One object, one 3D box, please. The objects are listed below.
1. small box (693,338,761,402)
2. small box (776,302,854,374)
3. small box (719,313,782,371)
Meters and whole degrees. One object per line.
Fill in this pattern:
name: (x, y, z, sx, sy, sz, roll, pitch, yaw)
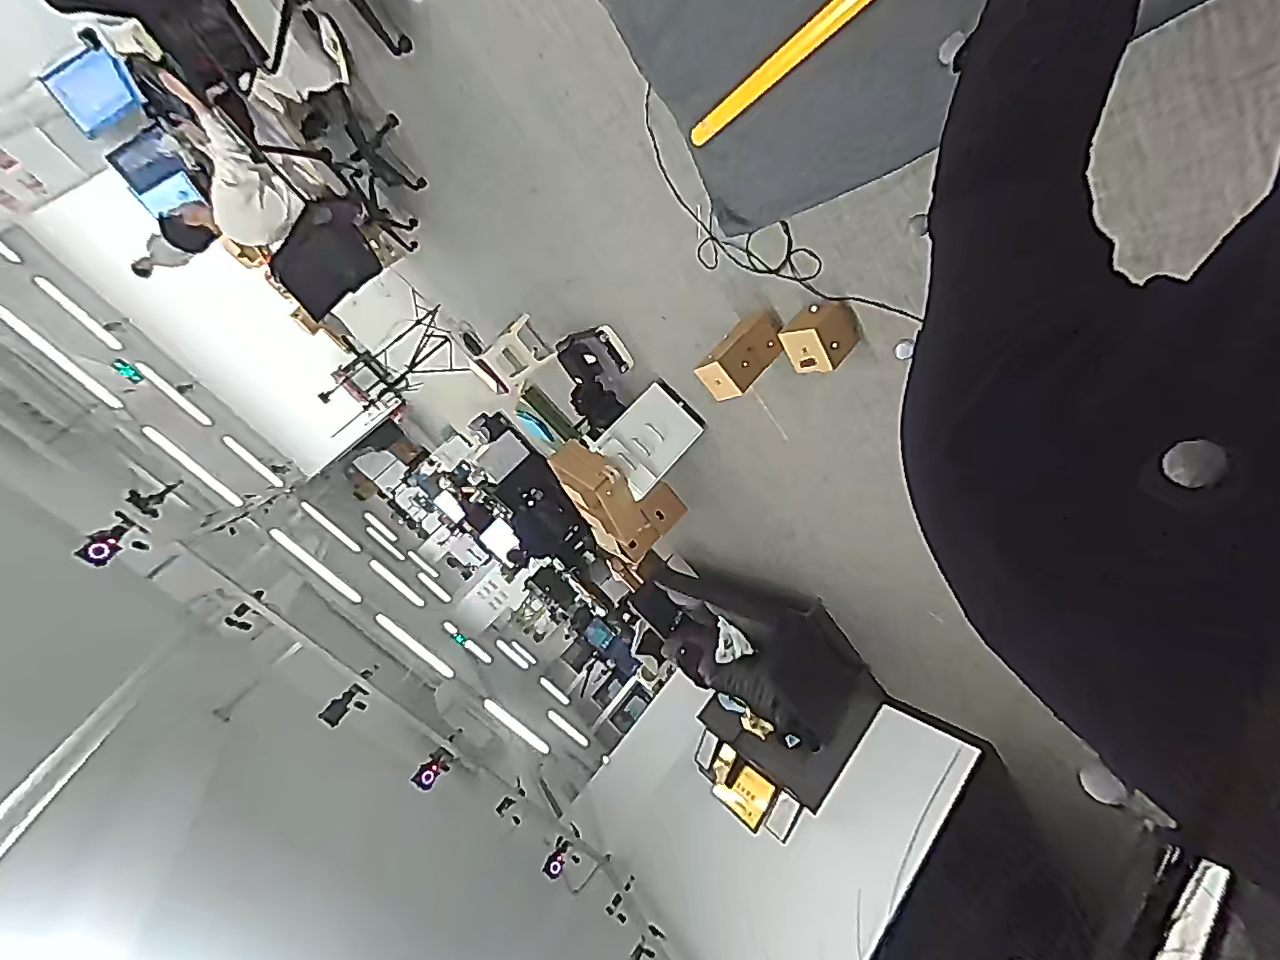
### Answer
small box: (0.345, -0.431, 2.111, 0.168, 0.176, 0.179, 48, 162, -17)
small box: (0.623, -0.498, 1.908, 0.179, 0.176, 0.168, 52, 160, -26)
small box: (0.451, -0.544, 2.170, 0.168, 0.176, 0.179, 48, 162, -18)
